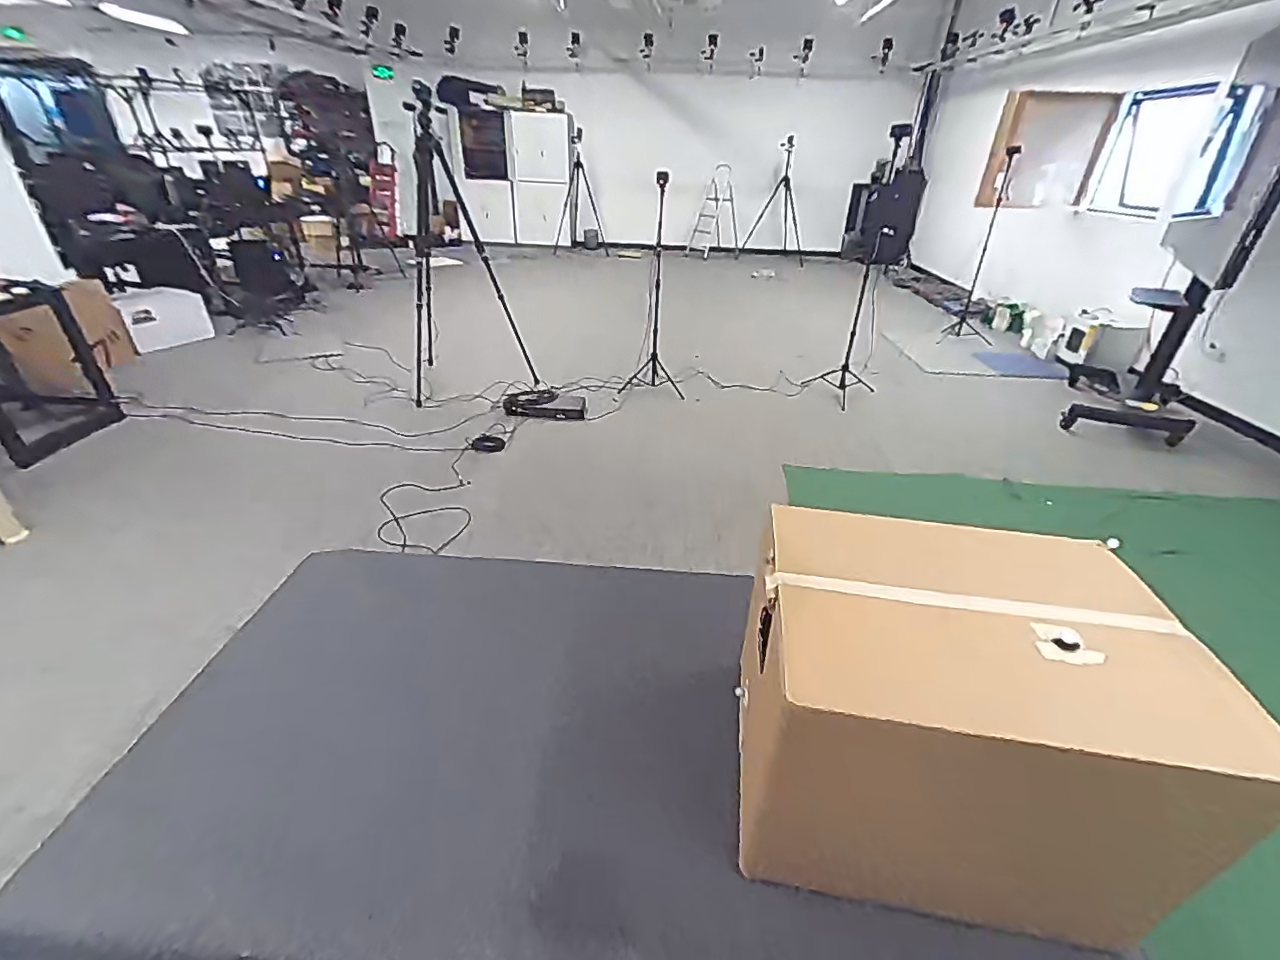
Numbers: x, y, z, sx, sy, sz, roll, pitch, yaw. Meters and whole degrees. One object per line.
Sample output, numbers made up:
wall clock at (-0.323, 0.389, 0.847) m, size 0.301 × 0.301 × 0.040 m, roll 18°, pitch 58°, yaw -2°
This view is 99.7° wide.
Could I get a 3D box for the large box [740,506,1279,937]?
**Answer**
large box at (0.341, 0.260, 0.641) m, size 0.408 × 0.320 × 0.320 m, roll 7°, pitch 32°, yaw 7°
